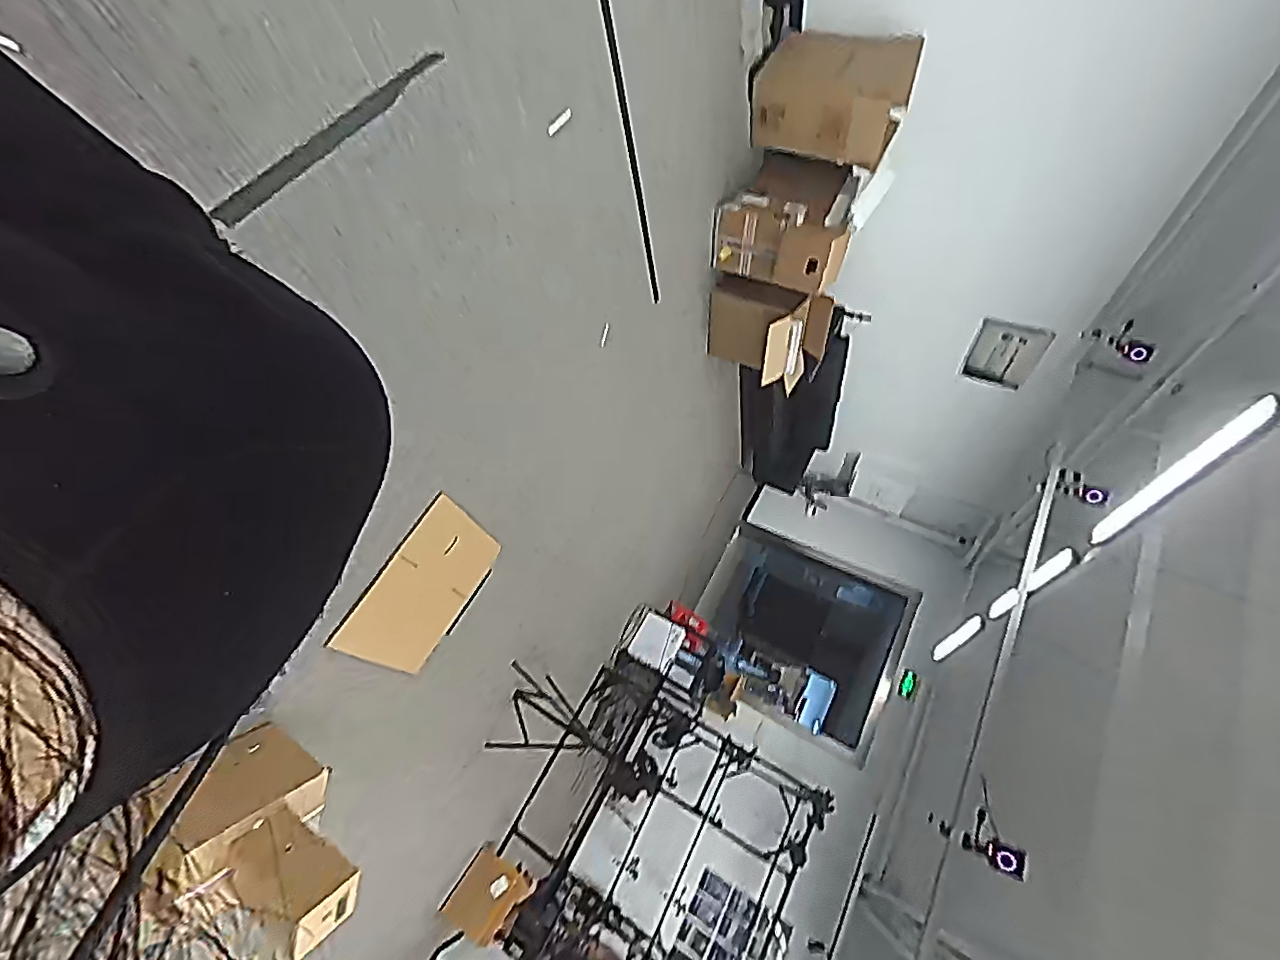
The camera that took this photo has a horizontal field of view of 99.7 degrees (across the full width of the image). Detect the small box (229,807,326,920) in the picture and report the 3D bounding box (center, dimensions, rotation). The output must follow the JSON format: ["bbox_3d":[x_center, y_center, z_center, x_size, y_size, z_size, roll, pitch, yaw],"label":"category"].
[{"bbox_3d":[-1.066,1.118,1.593,0.179,0.176,0.168,-15,123,-61],"label":"small box"}]
